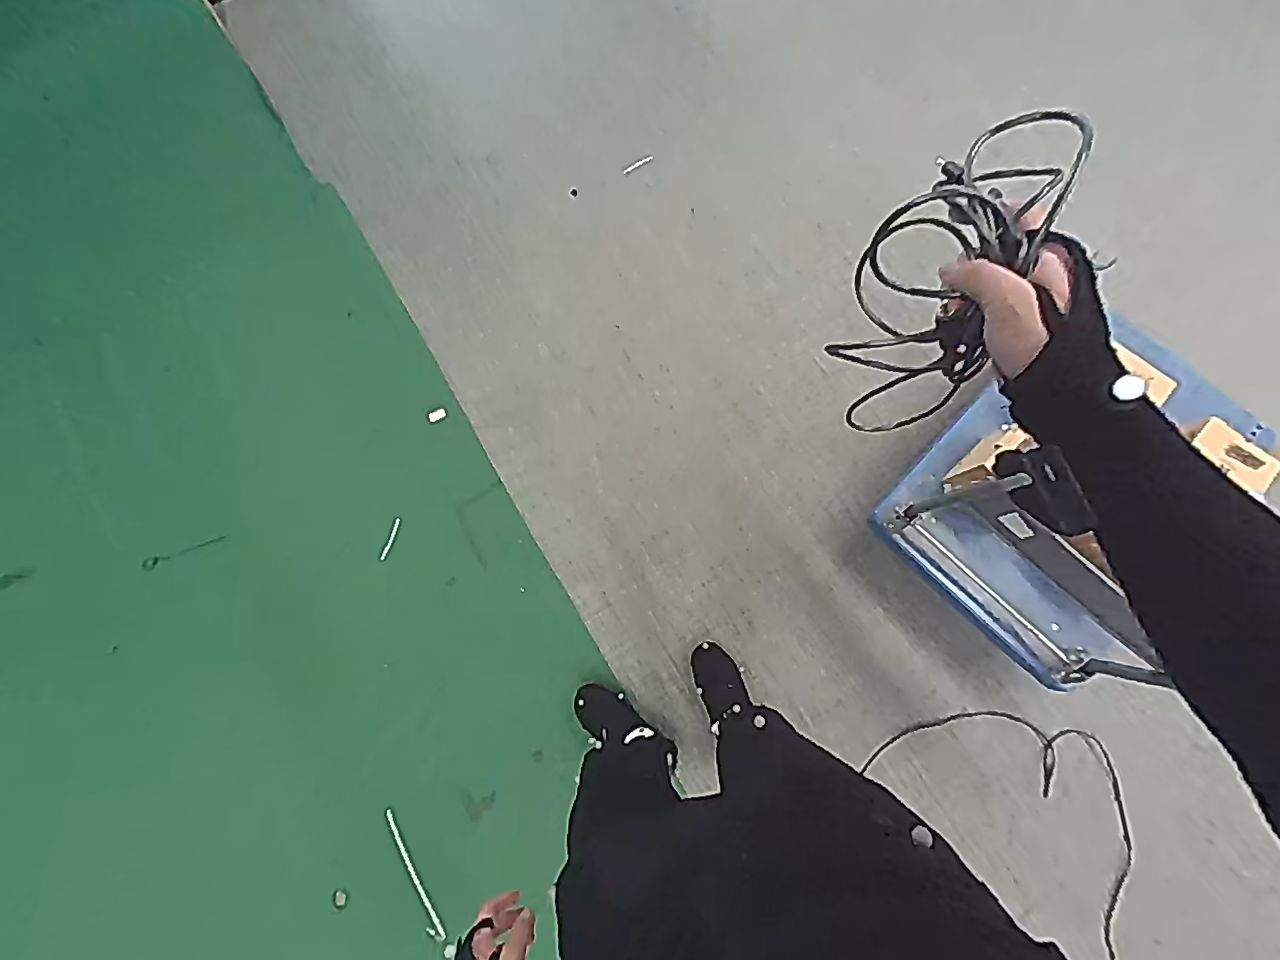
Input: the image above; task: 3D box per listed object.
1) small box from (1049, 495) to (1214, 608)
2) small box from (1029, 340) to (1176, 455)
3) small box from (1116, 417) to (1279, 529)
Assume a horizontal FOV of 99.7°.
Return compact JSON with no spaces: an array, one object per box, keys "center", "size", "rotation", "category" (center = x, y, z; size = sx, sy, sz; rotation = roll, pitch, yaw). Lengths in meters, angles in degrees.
[{"center":[1.061,0.159,1.186],"size":[0.179,0.176,0.168],"rotation":[-42,79,-7],"category":"small box"},{"center":[1.061,-0.183,1.262],"size":[0.168,0.176,0.179],"rotation":[41,82,9],"category":"small box"},{"center":[1.241,-0.007,1.215],"size":[0.168,0.176,0.179],"rotation":[43,83,11],"category":"small box"}]
